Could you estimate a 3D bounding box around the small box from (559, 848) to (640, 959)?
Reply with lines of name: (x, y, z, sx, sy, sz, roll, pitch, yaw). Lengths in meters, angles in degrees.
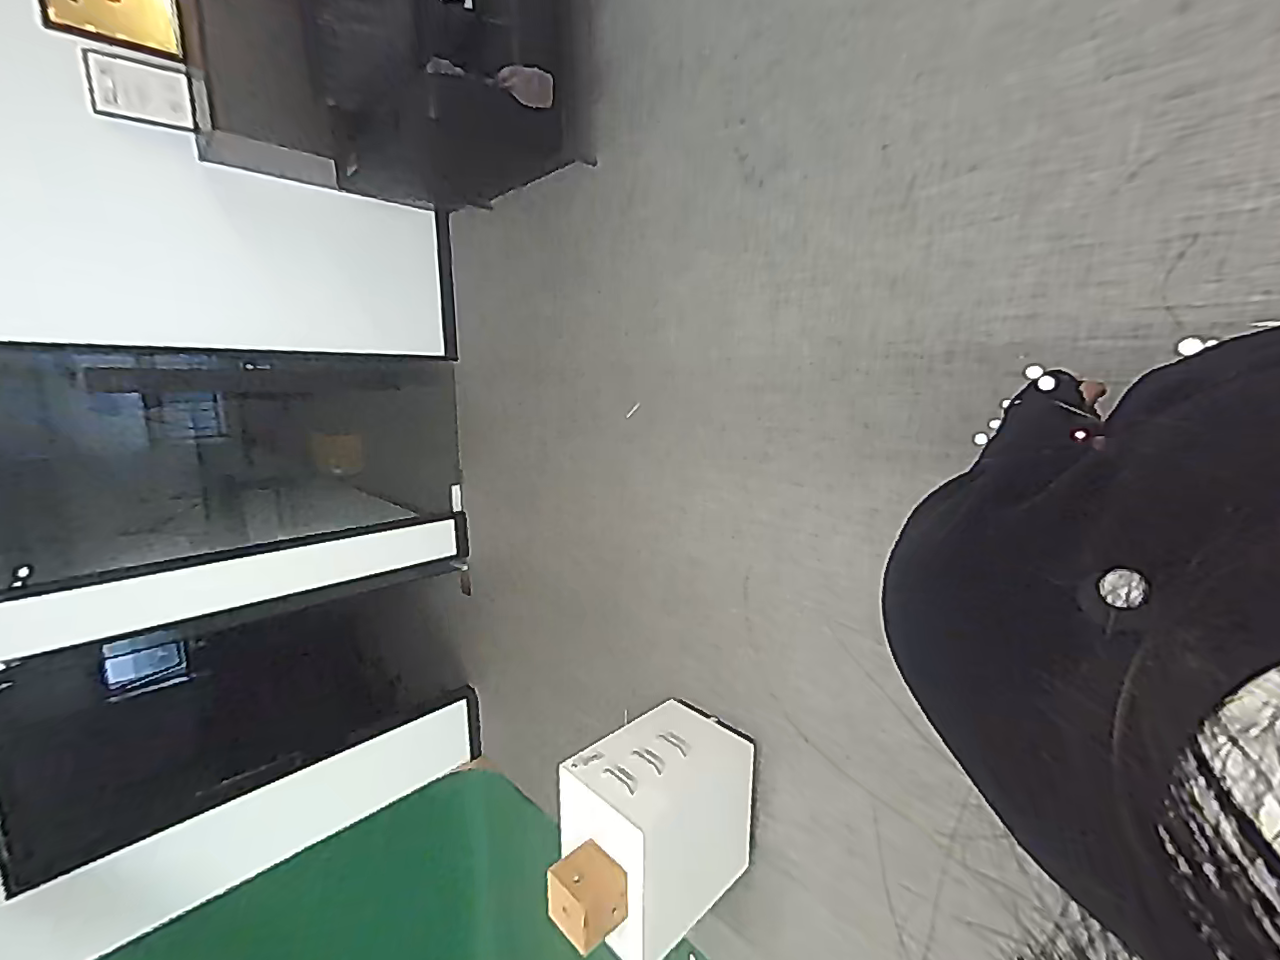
small box: (-0.118, 1.234, 1.593, 0.179, 0.176, 0.168, 8, 103, 45)
